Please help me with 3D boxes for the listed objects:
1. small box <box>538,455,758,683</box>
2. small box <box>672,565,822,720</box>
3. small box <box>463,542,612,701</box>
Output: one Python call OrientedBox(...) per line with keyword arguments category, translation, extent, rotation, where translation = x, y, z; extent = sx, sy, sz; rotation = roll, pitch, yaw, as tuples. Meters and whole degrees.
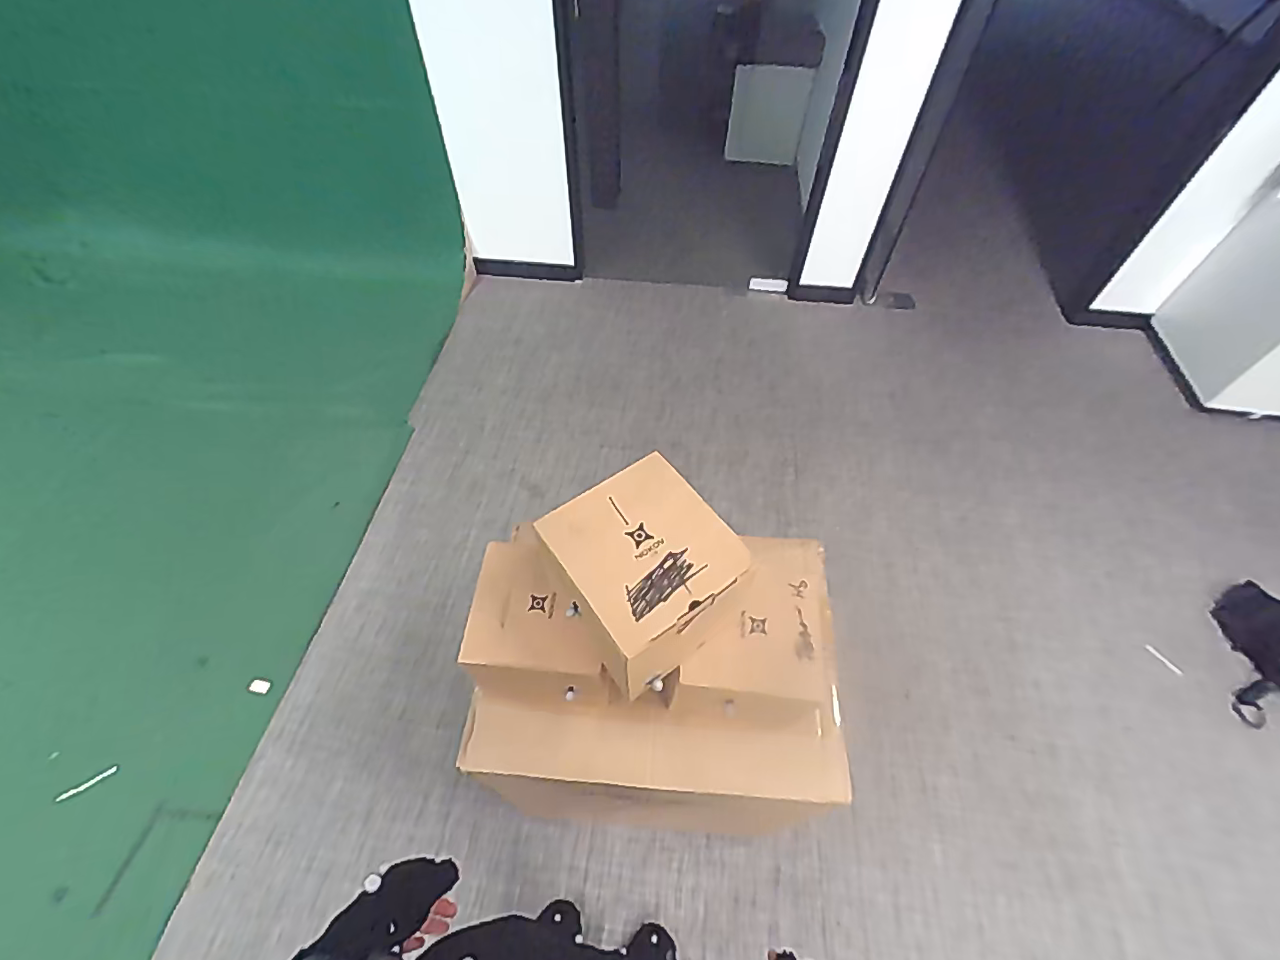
OrientedBox(category="small box", translation=(0.007, 0.110, 0.623), extent=(0.168, 0.176, 0.179), rotation=(-30, 61, -20))
OrientedBox(category="small box", translation=(0.138, 0.225, 0.747), extent=(0.179, 0.176, 0.168), rotation=(5, 57, 4))
OrientedBox(category="small box", translation=(-0.122, 0.203, 0.756), extent=(0.179, 0.176, 0.168), rotation=(3, 55, 2))
